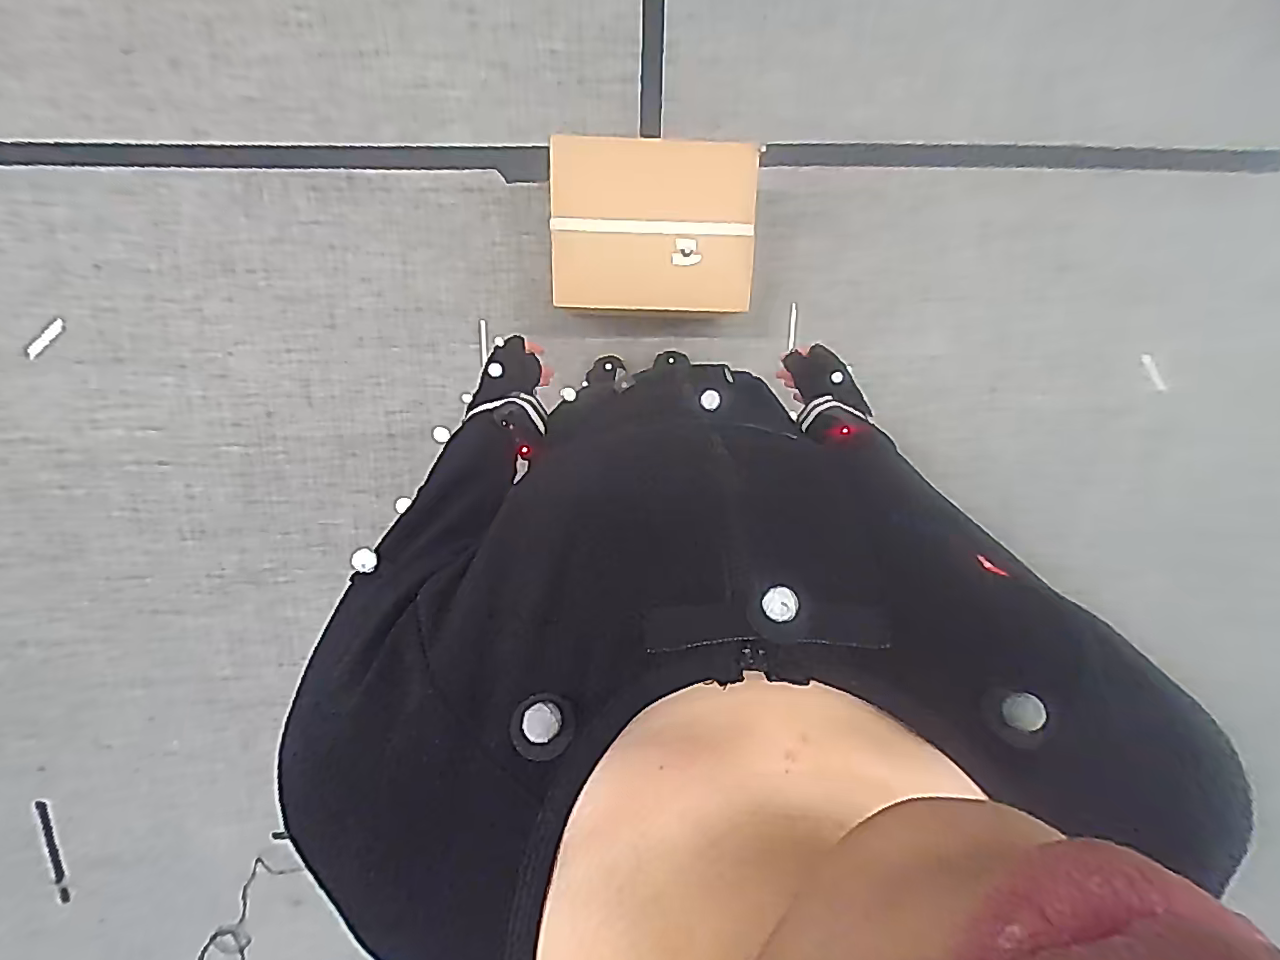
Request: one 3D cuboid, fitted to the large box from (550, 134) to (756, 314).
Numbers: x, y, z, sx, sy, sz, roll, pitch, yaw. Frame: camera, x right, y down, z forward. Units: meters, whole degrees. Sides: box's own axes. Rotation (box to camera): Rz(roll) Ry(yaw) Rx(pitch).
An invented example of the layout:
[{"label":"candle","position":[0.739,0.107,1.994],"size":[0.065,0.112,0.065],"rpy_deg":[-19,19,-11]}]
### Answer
[{"label":"large box","position":[0.017,-0.543,1.215],"size":[0.408,0.320,0.320],"rpy_deg":[0,105,-4]}]
